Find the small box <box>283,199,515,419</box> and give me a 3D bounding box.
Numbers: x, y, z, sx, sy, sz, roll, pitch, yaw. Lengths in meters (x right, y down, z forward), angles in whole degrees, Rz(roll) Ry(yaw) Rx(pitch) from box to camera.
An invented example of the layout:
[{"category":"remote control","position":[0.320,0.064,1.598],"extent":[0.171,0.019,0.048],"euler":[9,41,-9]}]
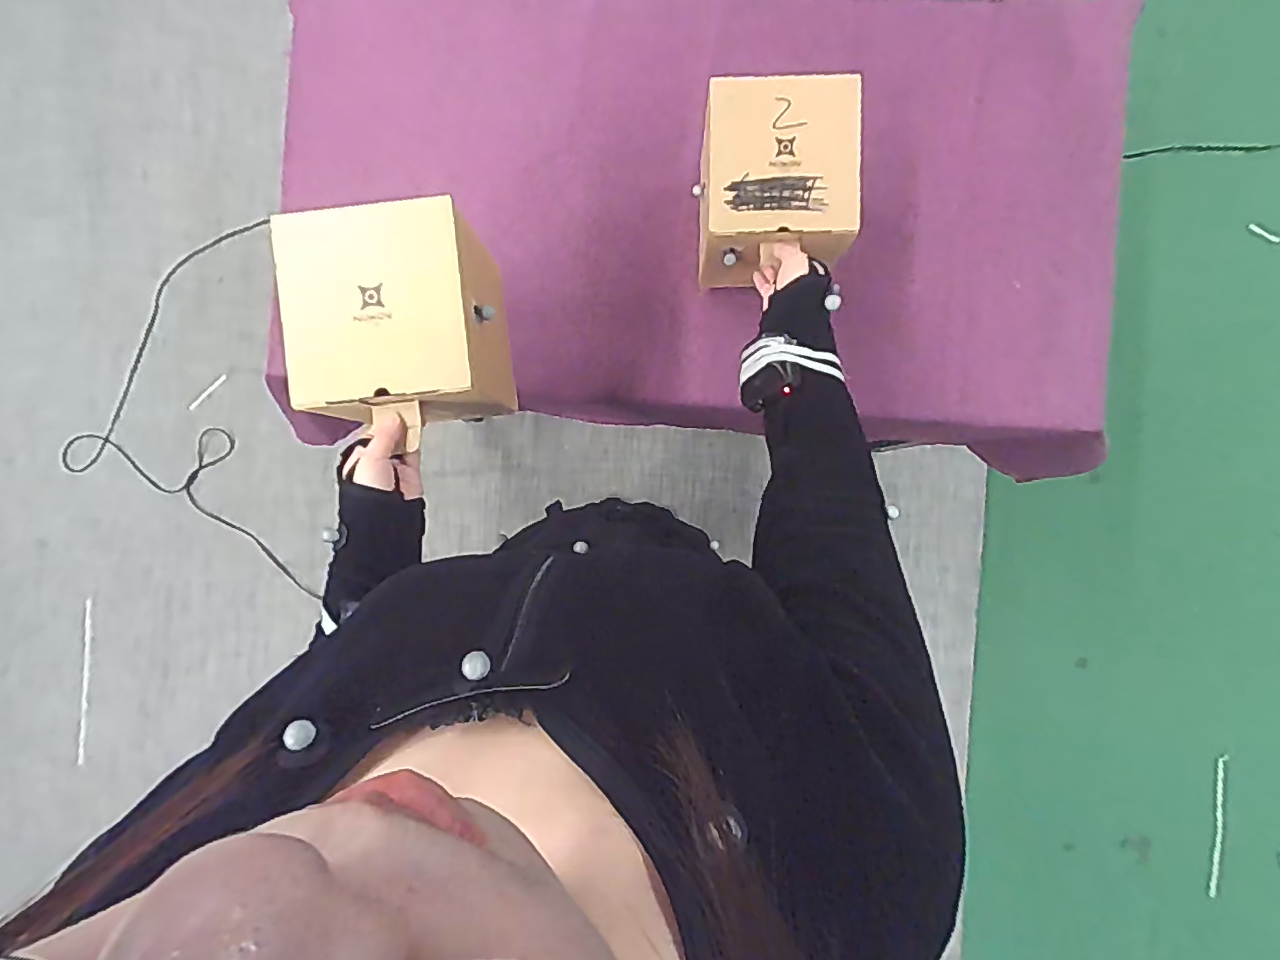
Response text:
[{"category":"small box","position":[-0.239,-0.166,0.577],"extent":[0.168,0.176,0.179],"euler":[-6,91,1]}]
